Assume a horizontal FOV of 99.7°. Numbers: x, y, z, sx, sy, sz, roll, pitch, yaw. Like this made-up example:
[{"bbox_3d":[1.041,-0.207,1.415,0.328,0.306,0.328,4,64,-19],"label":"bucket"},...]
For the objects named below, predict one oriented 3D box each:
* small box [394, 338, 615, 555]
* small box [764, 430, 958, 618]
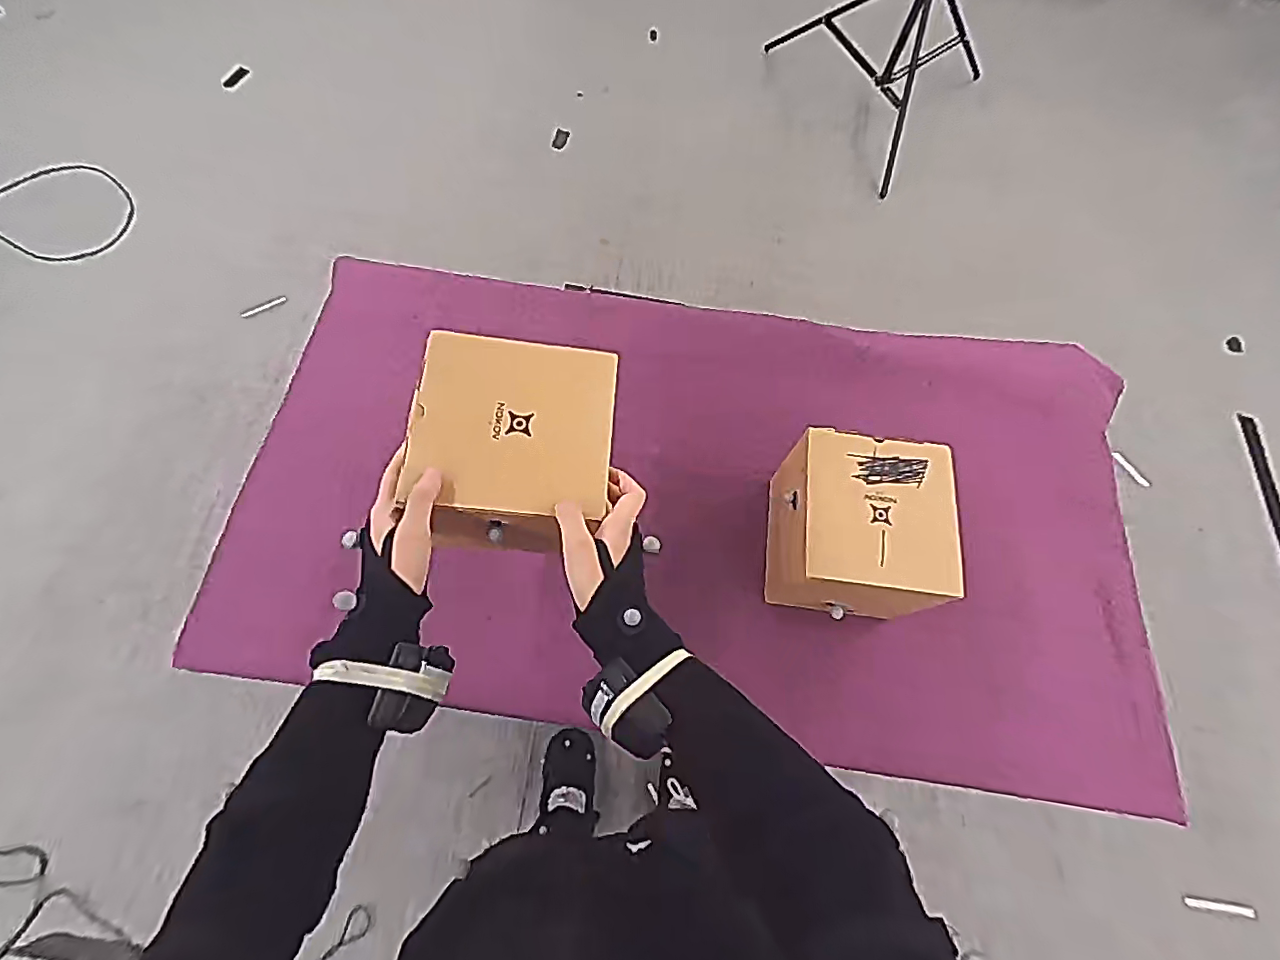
[{"bbox_3d":[-0.125,-0.021,0.558,0.179,0.176,0.168,5,71,-6],"label":"small box"},{"bbox_3d":[0.254,0.061,0.662,0.168,0.176,0.179,8,69,1],"label":"small box"}]
